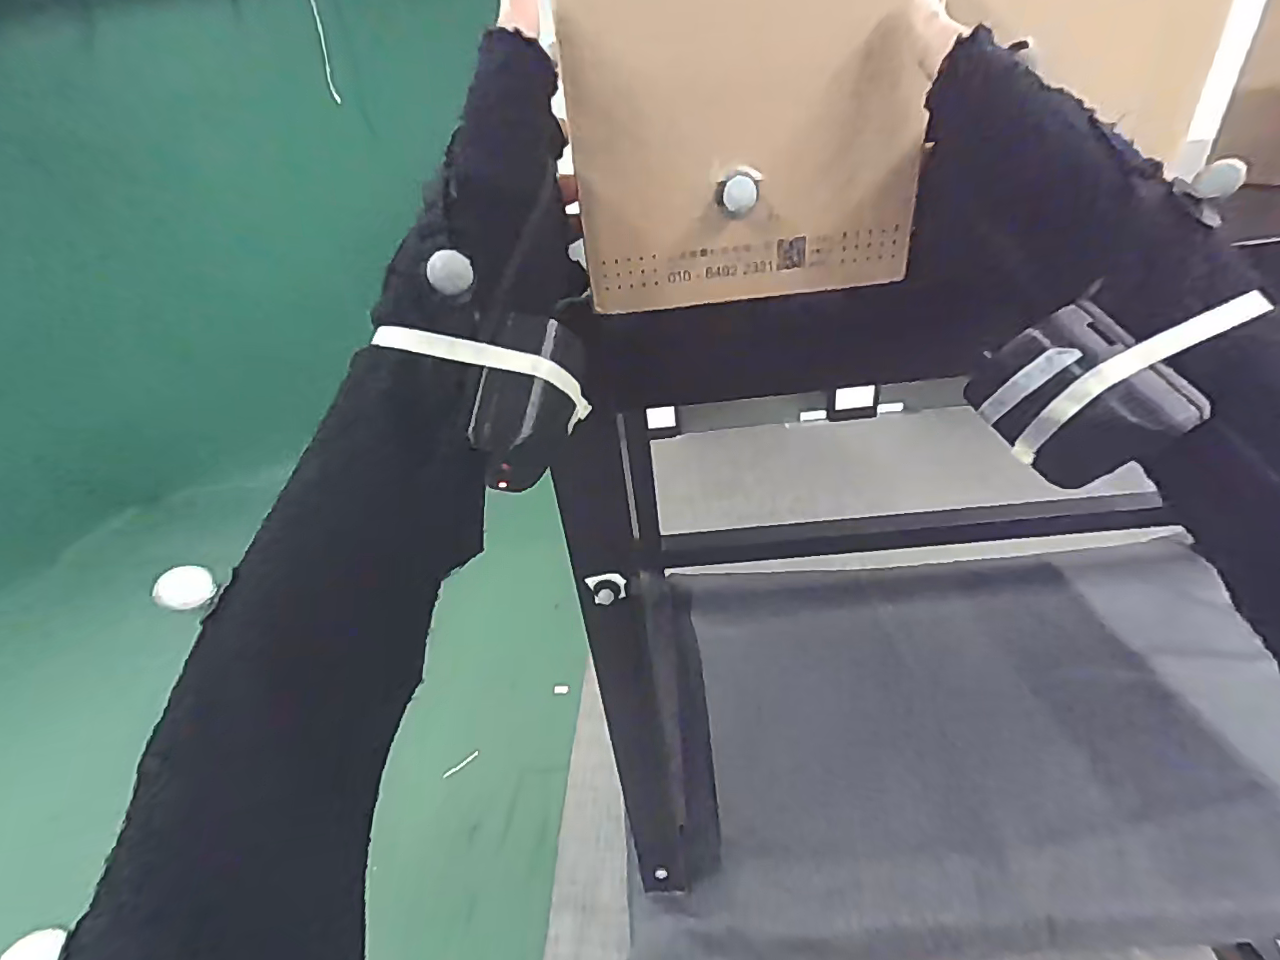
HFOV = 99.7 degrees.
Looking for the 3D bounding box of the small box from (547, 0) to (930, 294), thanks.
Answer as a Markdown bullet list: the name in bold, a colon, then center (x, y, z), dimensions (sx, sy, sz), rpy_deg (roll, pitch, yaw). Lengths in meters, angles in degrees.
- **small box**: center (0.041, -0.214, 0.315), dimensions (0.168, 0.176, 0.179), rpy_deg (-6, 31, 1)
